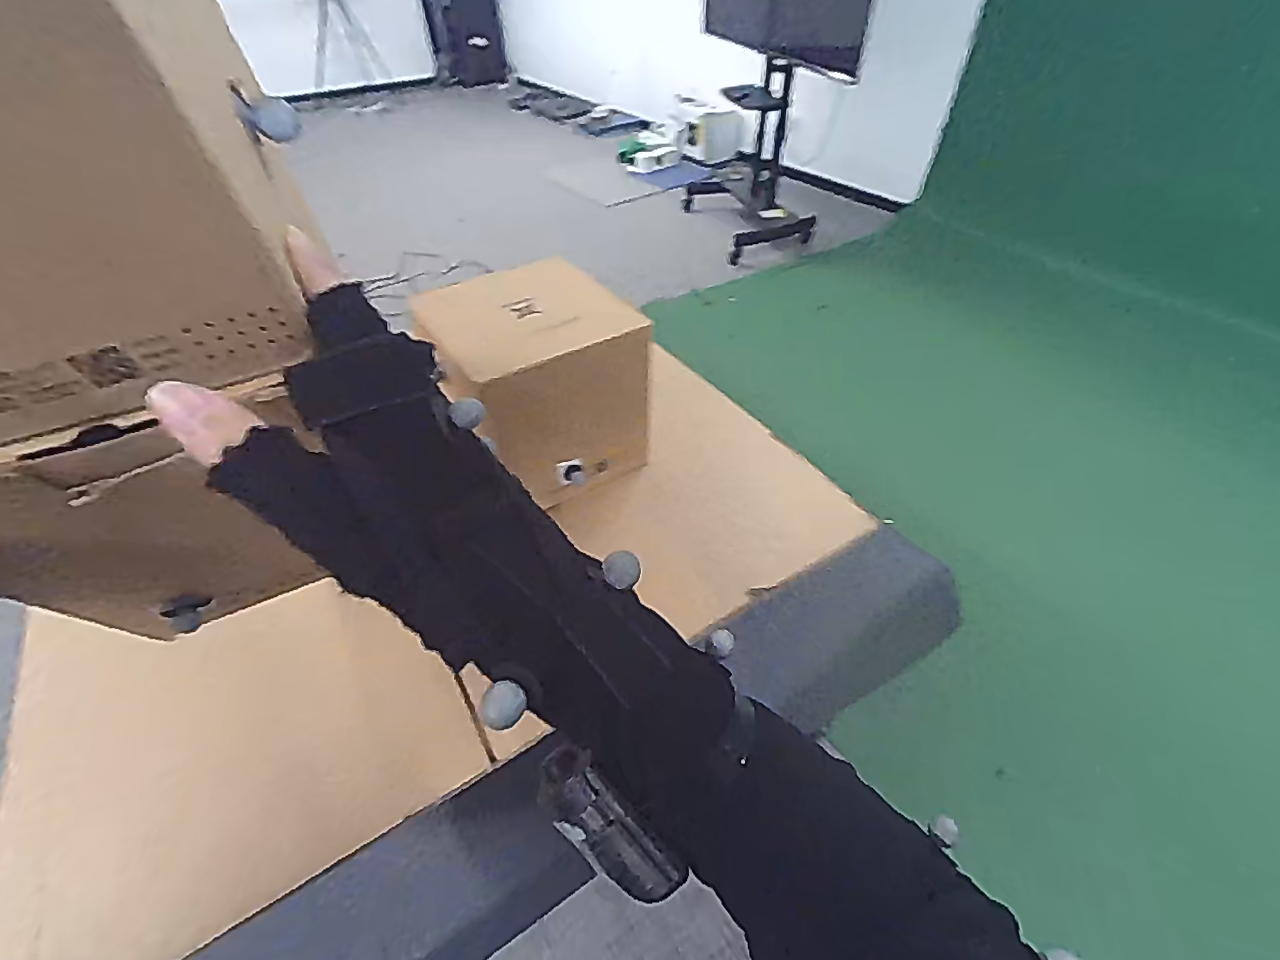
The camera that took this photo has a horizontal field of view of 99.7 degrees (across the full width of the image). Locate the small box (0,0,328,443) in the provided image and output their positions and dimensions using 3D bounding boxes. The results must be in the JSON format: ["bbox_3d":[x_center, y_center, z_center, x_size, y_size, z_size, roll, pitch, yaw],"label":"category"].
[{"bbox_3d":[-0.217,-0.128,0.151,0.168,0.176,0.179,-20,66,-14],"label":"small box"}]

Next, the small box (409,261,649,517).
[{"bbox_3d":[-0.107,-0.095,0.552,0.168,0.176,0.179,-27,51,-23],"label":"small box"}]

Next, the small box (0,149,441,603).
[{"bbox_3d":[-0.227,-0.048,0.293,0.168,0.176,0.179,-21,67,-15],"label":"small box"}]
